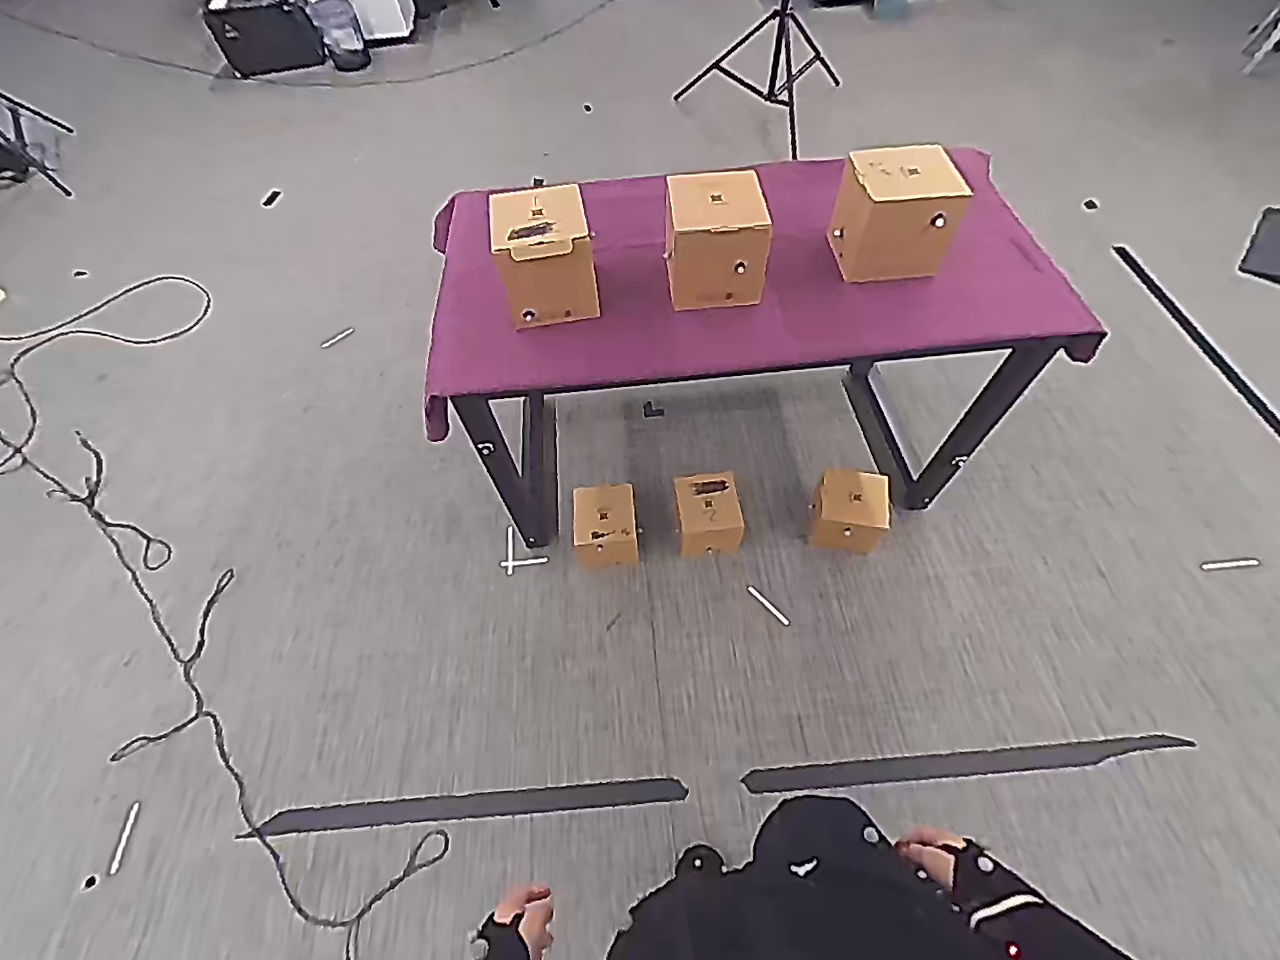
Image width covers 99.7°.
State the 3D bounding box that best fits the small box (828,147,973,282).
[{"bbox_3d":[0.481,-0.500,1.029,0.179,0.176,0.168,-4,58,1],"label":"small box"}]

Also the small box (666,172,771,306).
[{"bbox_3d":[0.138,-0.442,1.012,0.168,0.176,0.179,-4,56,-1],"label":"small box"}]

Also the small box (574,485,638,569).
[{"bbox_3d":[-0.092,0.134,1.525,0.168,0.176,0.179,-4,57,1],"label":"small box"}]

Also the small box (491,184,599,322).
[{"bbox_3d":[-0.172,-0.411,1.004,0.168,0.176,0.179,-10,57,-4],"label":"small box"}]

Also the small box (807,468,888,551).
[{"bbox_3d":[0.580,0.088,1.523,0.179,0.176,0.168,8,60,9],"label":"small box"}]
